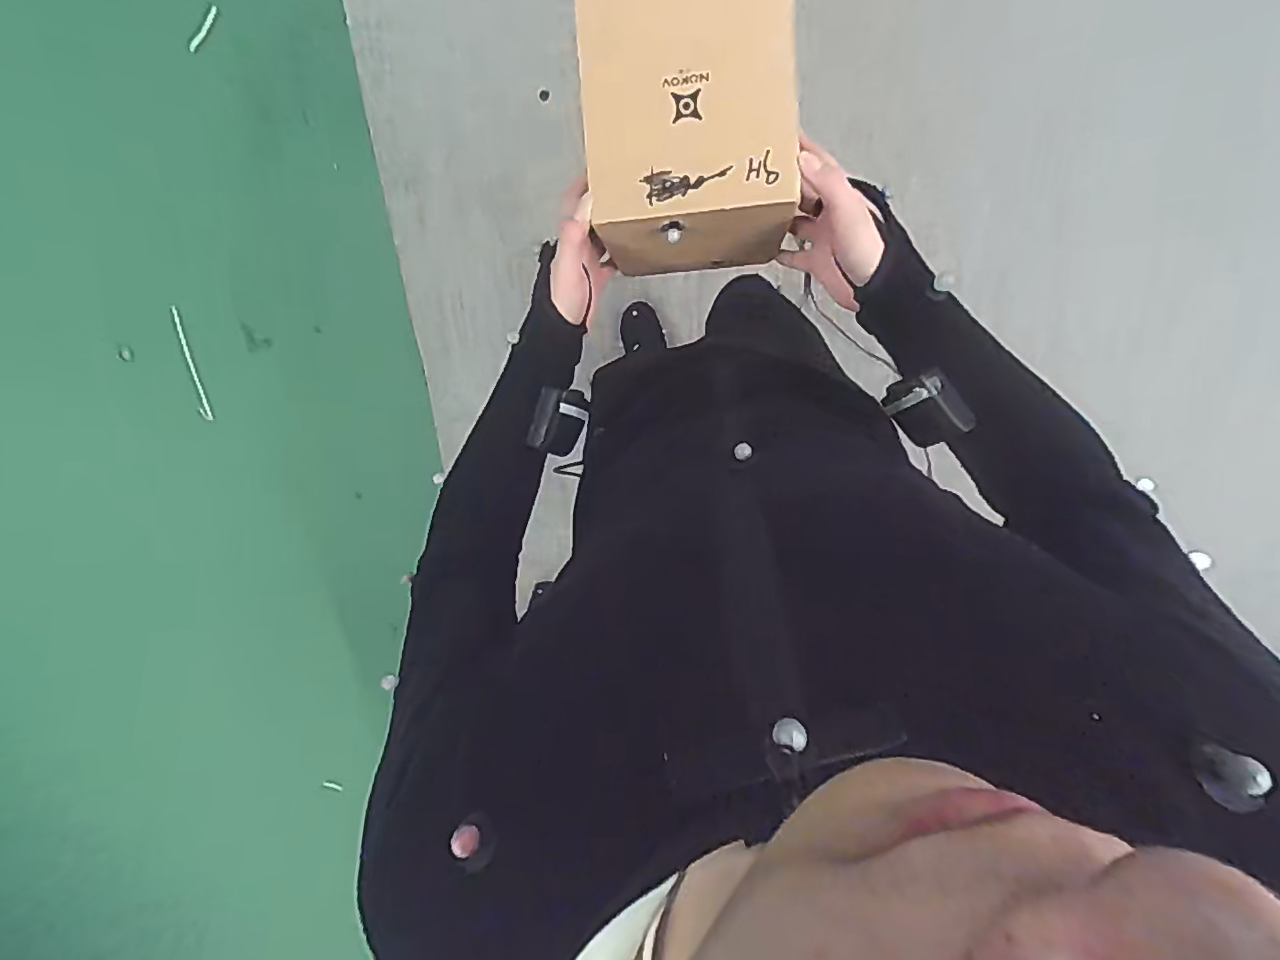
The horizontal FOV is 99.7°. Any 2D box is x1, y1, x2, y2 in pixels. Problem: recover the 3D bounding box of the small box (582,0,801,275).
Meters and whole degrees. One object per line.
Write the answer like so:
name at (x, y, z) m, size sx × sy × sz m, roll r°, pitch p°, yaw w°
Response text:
small box at (0.047, -0.303, 0.489) m, size 0.168 × 0.176 × 0.179 m, roll -2°, pitch 95°, yaw 8°
